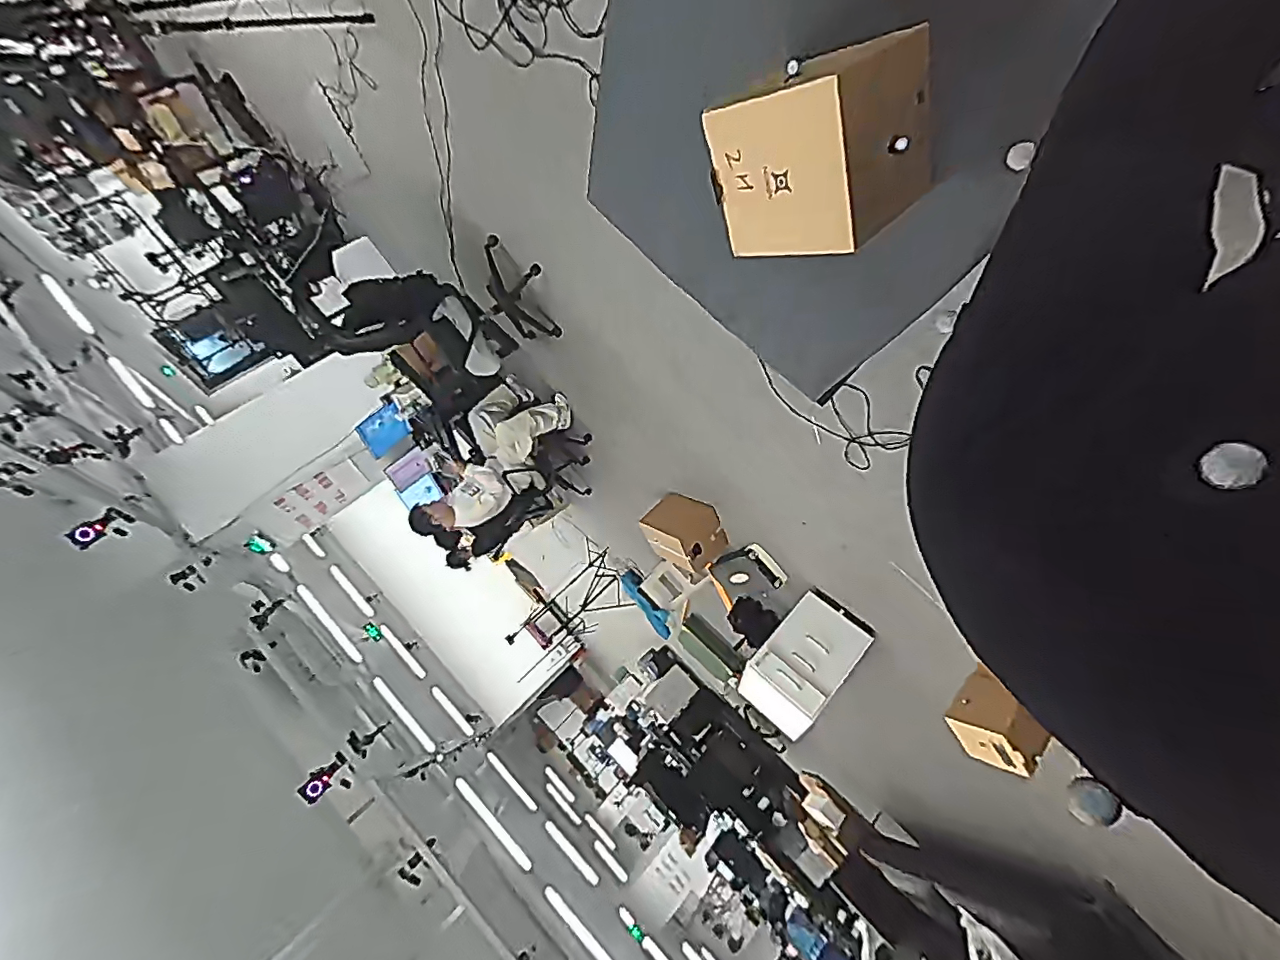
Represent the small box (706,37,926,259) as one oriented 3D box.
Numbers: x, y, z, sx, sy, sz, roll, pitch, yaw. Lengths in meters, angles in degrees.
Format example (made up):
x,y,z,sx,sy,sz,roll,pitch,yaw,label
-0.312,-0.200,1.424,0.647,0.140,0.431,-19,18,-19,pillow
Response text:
x,y,z,sx,sy,sz,roll,pitch,yaw,label
0.211,-0.375,0.628,0.179,0.176,0.168,24,147,46,small box
